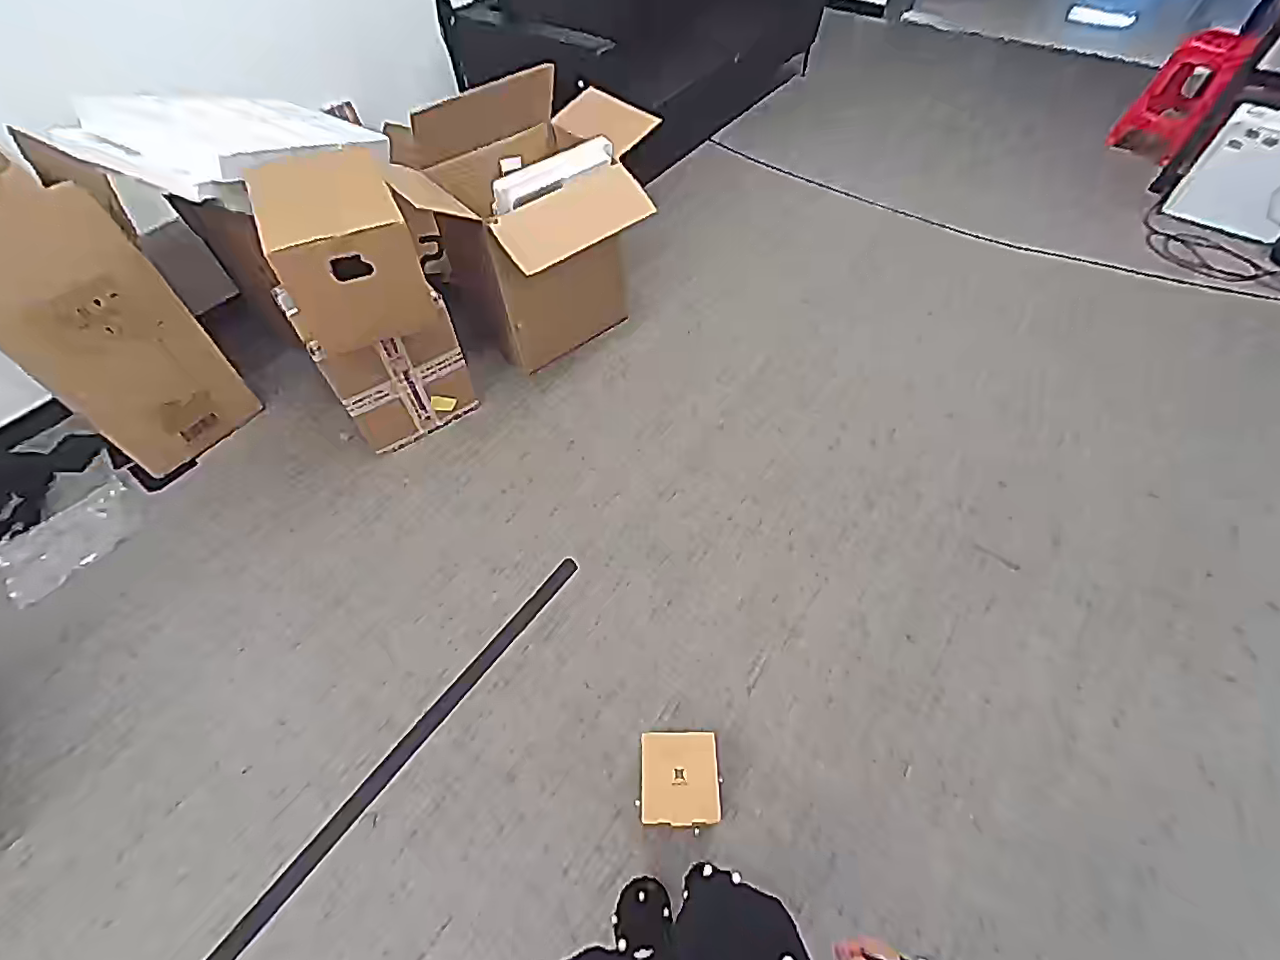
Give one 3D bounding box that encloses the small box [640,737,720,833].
[{"bbox_3d":[0.084,0.687,1.214,0.168,0.176,0.179,-1,54,0],"label":"small box"}]
